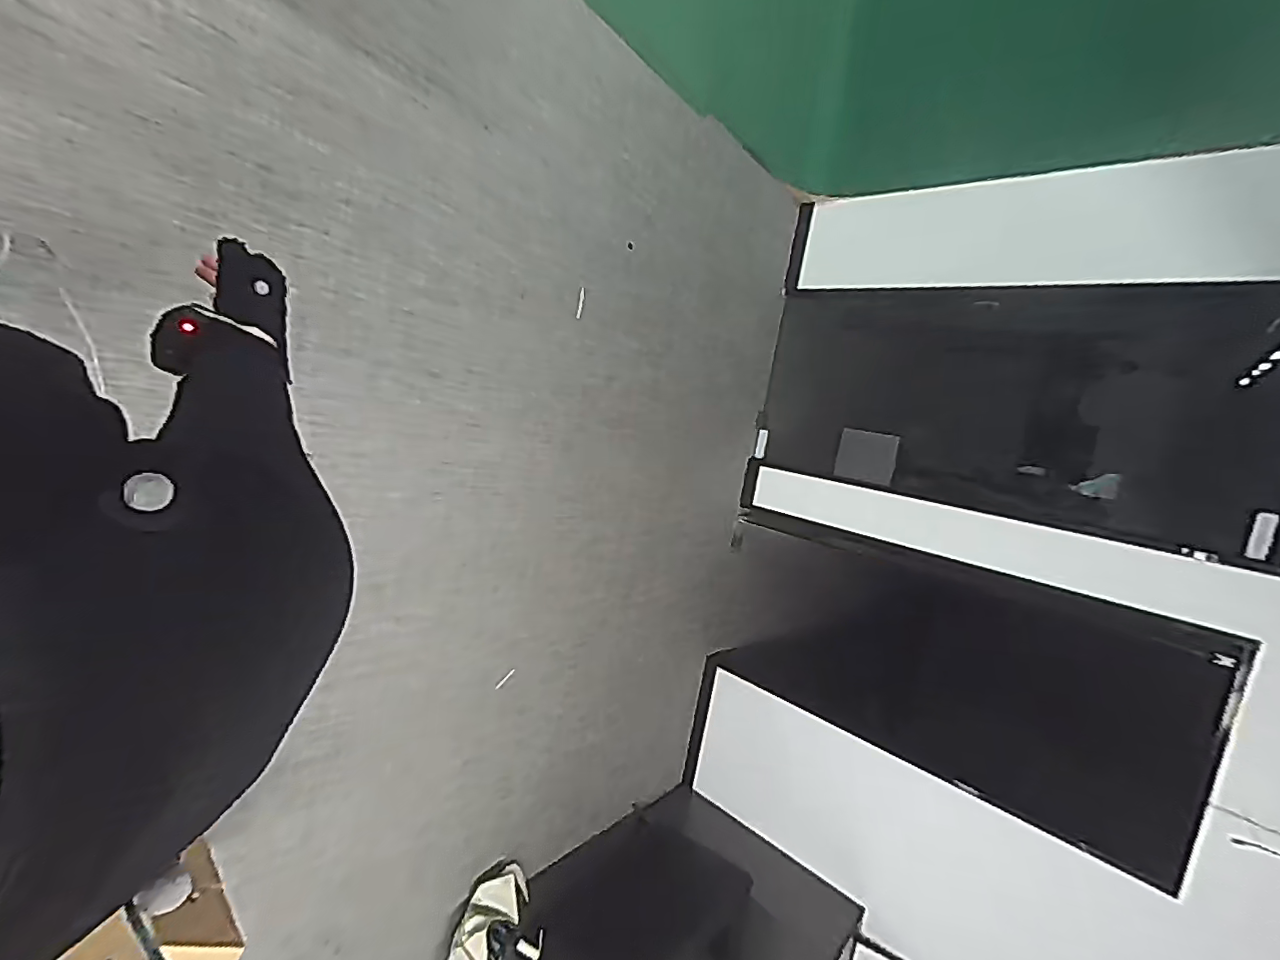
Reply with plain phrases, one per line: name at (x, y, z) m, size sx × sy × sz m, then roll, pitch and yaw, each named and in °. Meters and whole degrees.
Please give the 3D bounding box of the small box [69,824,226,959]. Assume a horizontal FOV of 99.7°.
small box at (-1.007, 0.839, 1.103) m, size 0.179 × 0.176 × 0.168 m, roll -60°, pitch 138°, yaw -16°
